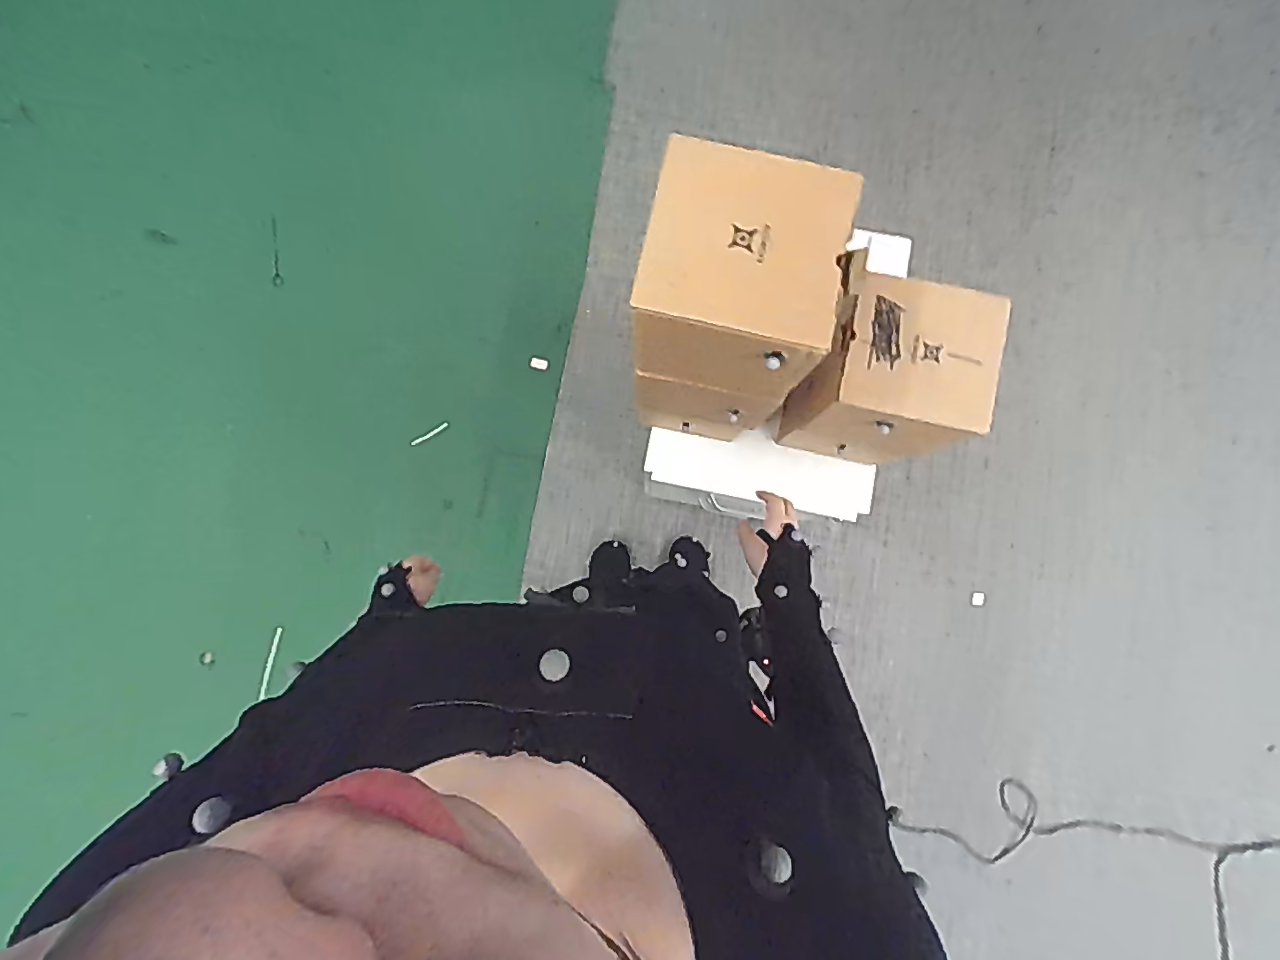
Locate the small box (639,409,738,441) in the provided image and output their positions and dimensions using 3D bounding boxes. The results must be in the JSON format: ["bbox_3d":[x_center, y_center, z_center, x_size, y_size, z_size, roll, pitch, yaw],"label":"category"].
[{"bbox_3d":[0.095,-0.170,0.870,0.168,0.176,0.179,12,84,0],"label":"small box"}]

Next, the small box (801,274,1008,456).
[{"bbox_3d":[0.325,-0.136,0.700,0.179,0.176,0.168,13,84,2],"label":"small box"}]

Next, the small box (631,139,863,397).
[{"bbox_3d":[0.093,-0.195,0.545,0.179,0.176,0.168,13,83,0],"label":"small box"}]

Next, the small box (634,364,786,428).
[{"bbox_3d":[0.092,-0.172,0.707,0.179,0.176,0.168,11,83,1],"label":"small box"}]
